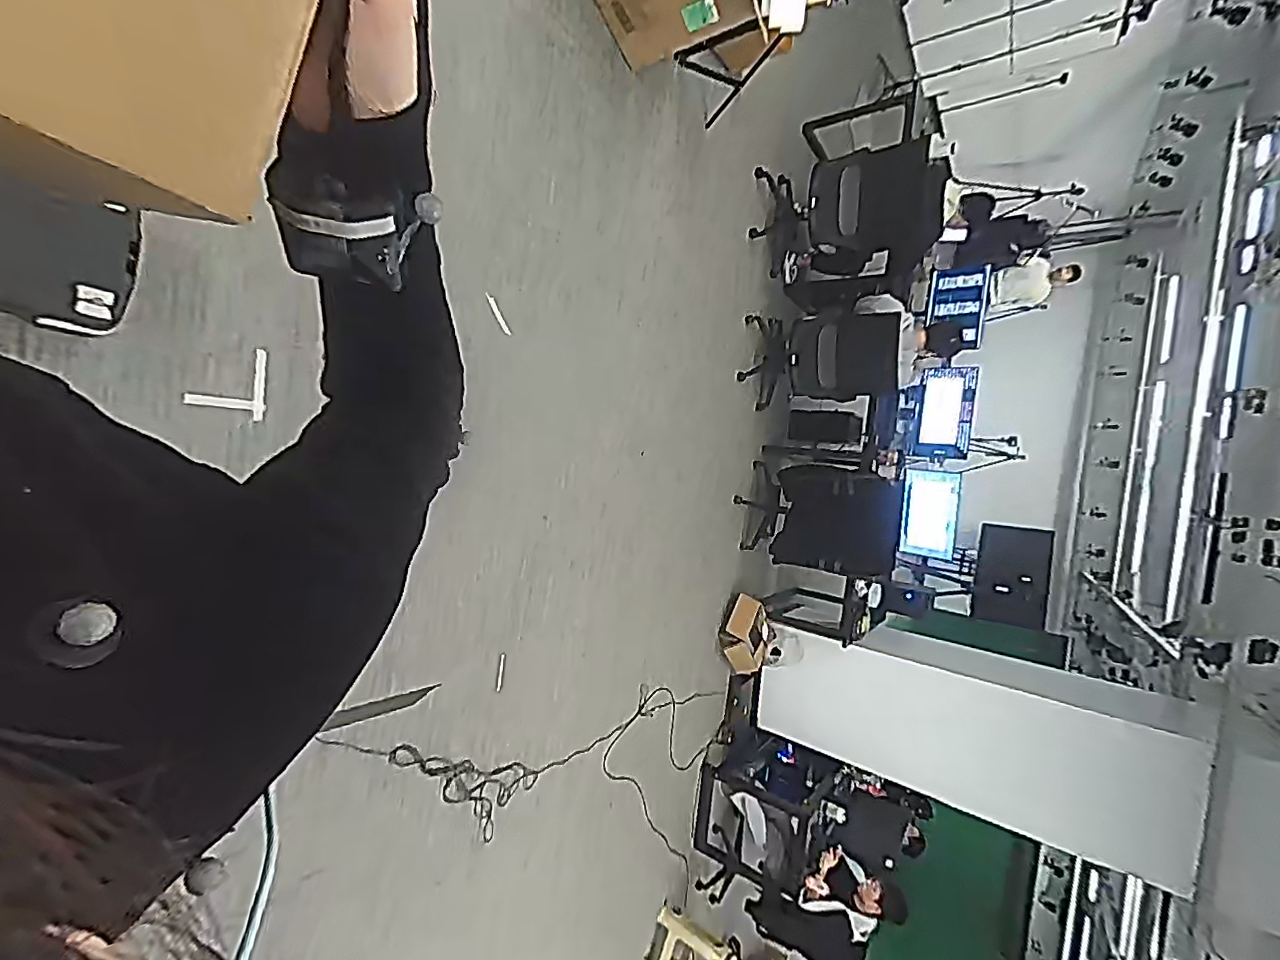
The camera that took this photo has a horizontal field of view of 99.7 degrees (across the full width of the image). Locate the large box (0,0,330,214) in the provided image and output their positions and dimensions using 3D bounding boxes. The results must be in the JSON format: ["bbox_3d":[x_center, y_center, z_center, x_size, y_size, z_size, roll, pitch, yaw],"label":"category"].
[{"bbox_3d":[-0.329,-0.319,0.132,0.408,0.320,0.320,13,96,-58],"label":"large box"}]

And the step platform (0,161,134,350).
[{"bbox_3d":[-1.179,-0.429,0.758,0.684,0.204,0.286,16,83,-53],"label":"step platform"}]
